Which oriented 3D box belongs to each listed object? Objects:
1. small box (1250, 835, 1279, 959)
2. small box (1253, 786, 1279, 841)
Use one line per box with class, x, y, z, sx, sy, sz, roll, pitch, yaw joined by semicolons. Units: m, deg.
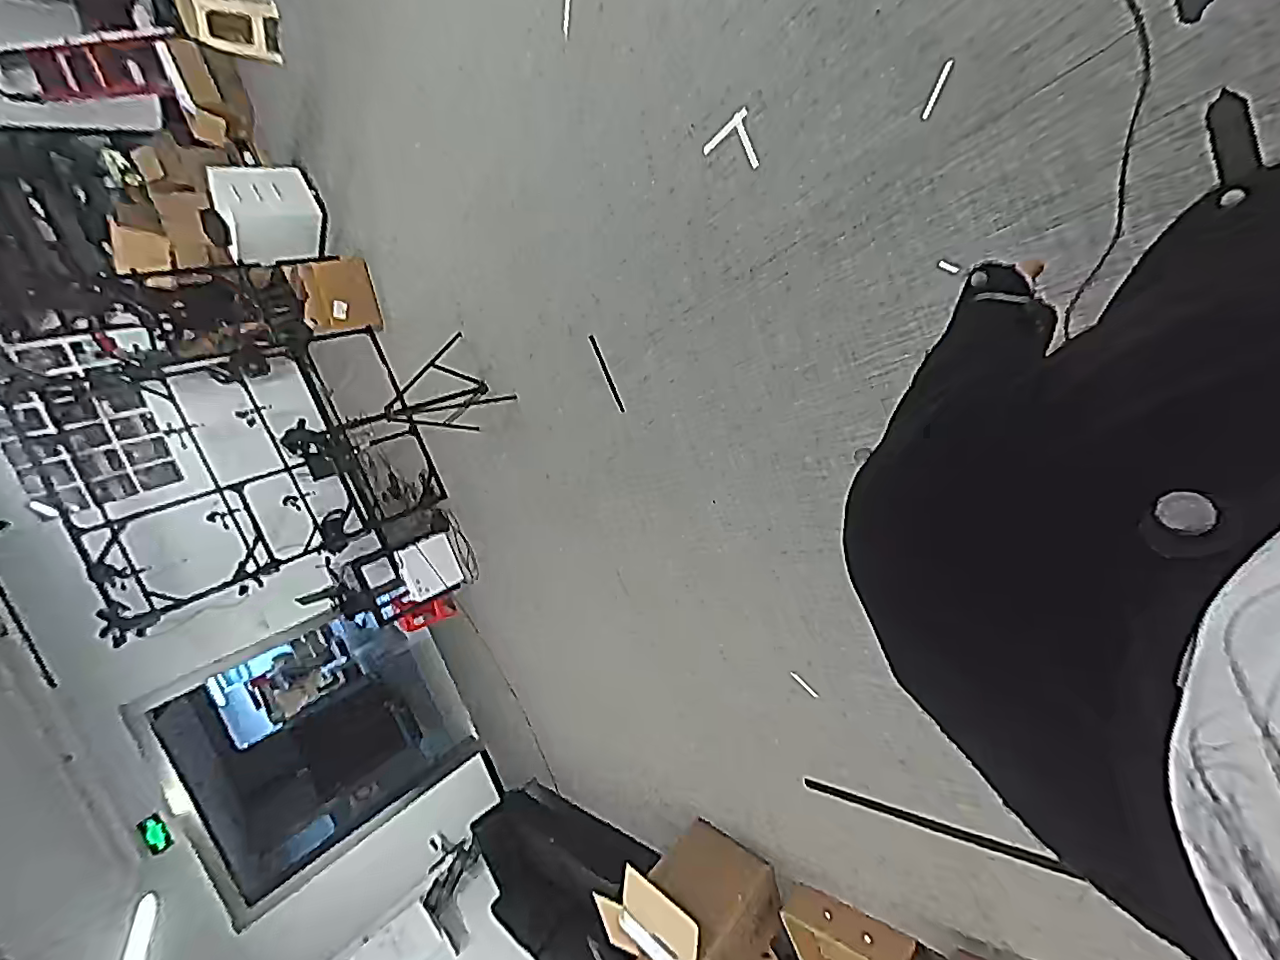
small box;1.306;0.836;1.029;0.168;0.176;0.179;-13;100;52
small box;1.426;0.784;1.132;0.168;0.176;0.179;-15;98;53
